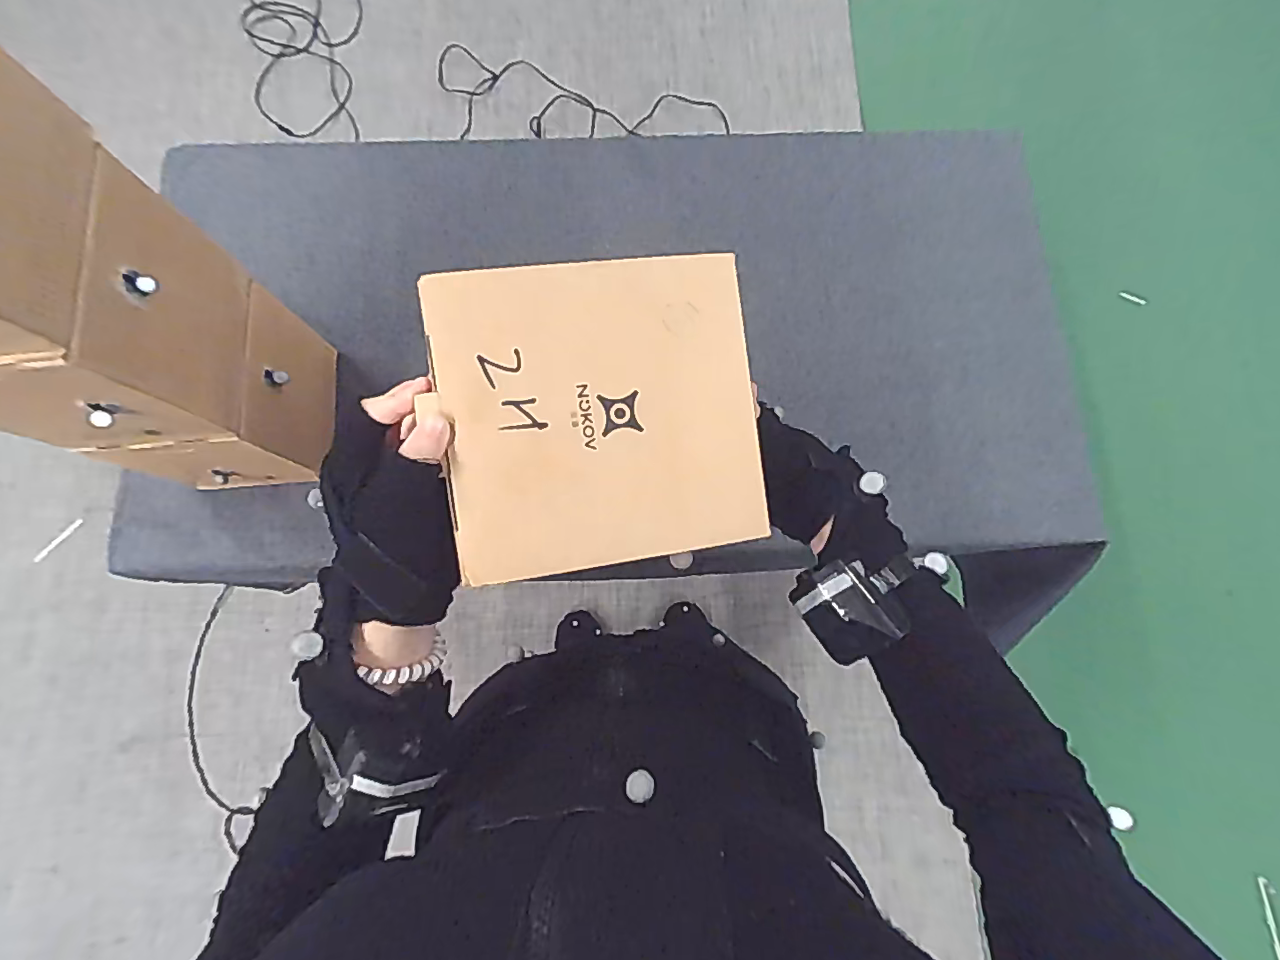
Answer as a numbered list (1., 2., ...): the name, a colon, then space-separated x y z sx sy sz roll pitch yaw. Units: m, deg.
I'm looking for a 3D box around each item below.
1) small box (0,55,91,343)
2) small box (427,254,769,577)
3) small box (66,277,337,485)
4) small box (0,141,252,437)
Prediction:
1. small box: -0.461 -0.182 0.292 0.168 0.176 0.179 -5 77 -3
2. small box: -0.033 -0.040 0.373 0.179 0.176 0.168 -7 91 -10
3. small box: -0.466 -0.101 0.608 0.168 0.176 0.179 -5 78 -2
4. small box: -0.463 -0.139 0.450 0.168 0.176 0.179 -4 77 -2
